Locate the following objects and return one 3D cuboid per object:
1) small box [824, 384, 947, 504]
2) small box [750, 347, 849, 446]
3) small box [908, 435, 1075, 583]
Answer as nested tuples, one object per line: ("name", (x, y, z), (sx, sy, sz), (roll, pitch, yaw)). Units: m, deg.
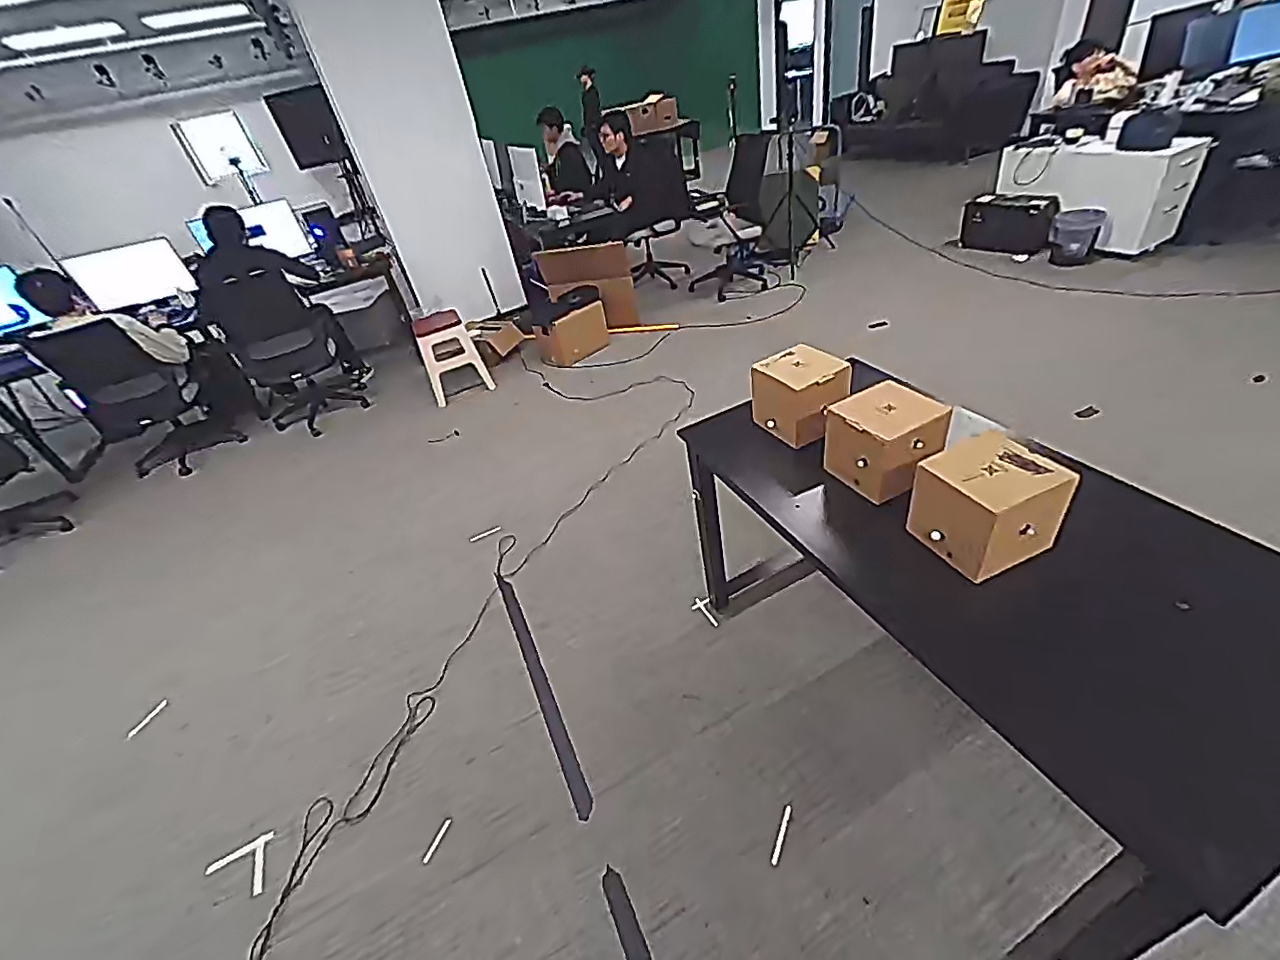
("small box", (0.517, -0.076, 1.162), (0.179, 0.176, 0.168), (-23, 40, -16))
("small box", (0.395, -0.204, 1.356), (0.168, 0.176, 0.179), (-24, 40, -17))
("small box", (0.612, 0.051, 0.969), (0.179, 0.176, 0.168), (-21, 38, -11))
